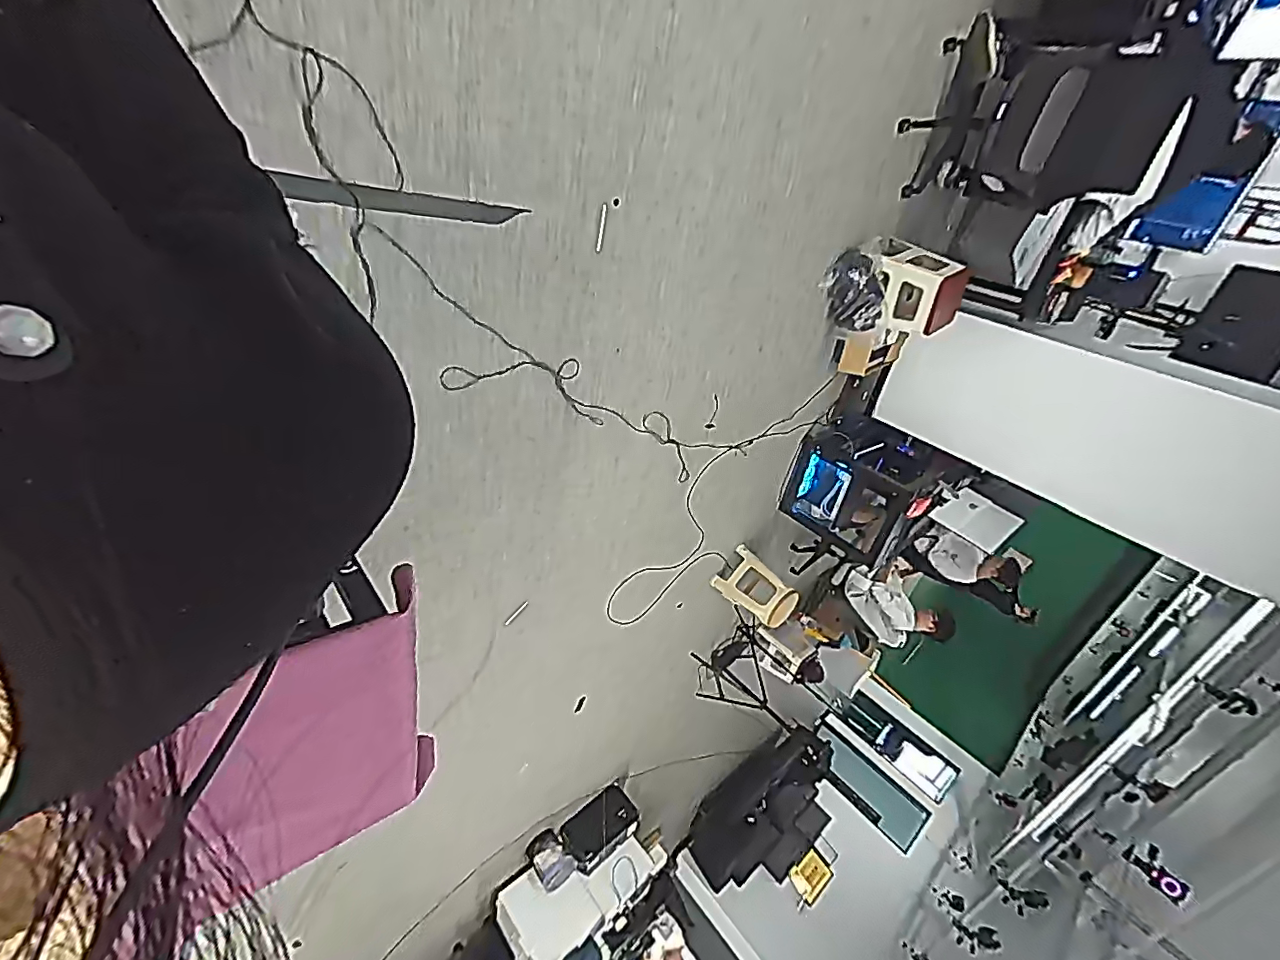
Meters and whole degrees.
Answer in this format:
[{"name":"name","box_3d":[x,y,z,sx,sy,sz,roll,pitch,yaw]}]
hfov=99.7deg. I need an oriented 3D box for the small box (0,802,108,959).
[{"name":"small box","box_3d":[-0.817,0.564,0.693,0.168,0.176,0.179,-15,130,-42]}]
